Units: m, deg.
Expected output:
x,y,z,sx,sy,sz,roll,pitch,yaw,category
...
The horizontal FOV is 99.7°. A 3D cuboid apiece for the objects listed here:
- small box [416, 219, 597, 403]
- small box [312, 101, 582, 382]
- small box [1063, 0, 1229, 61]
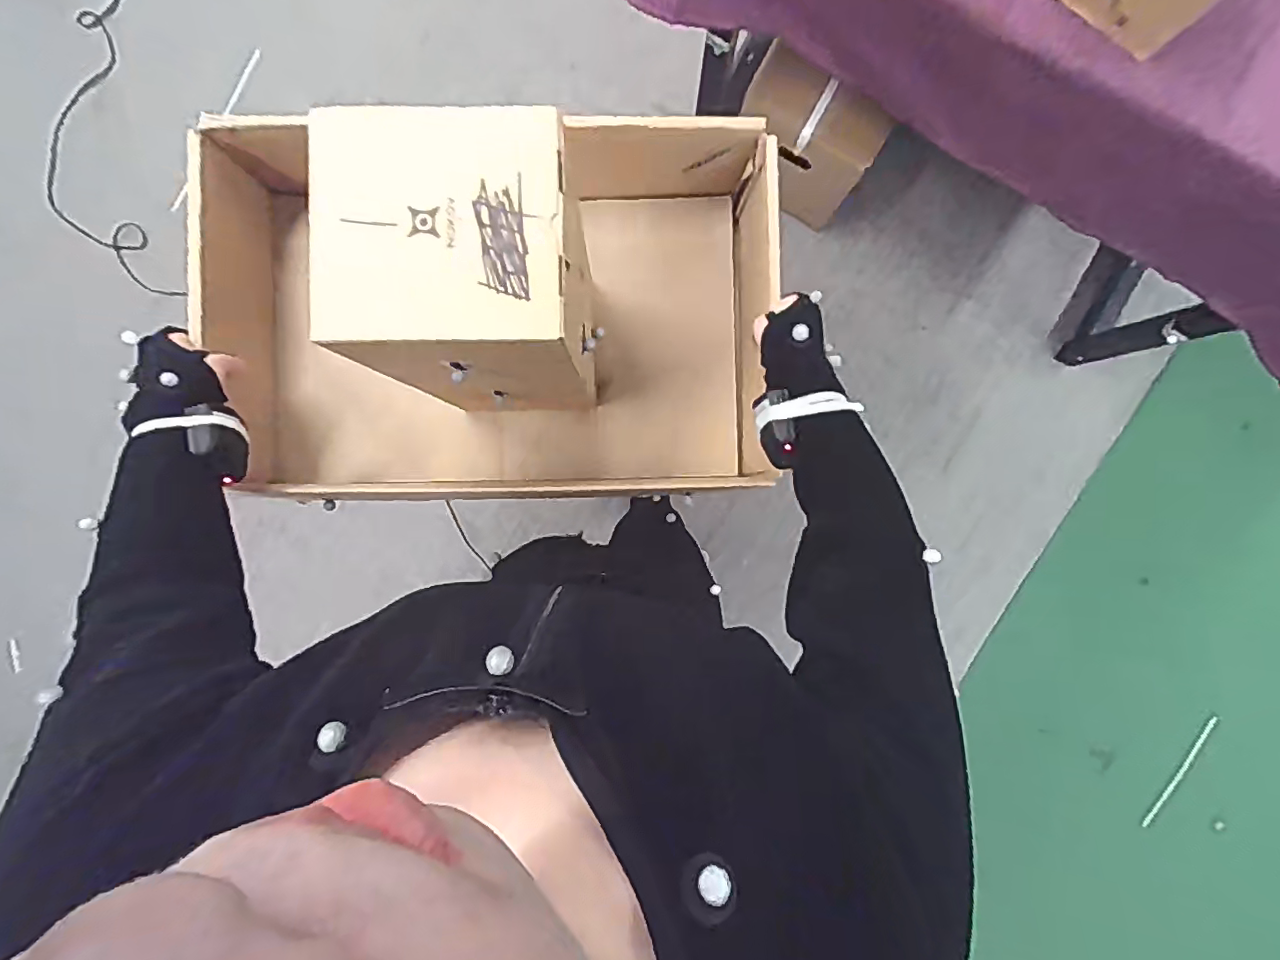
x,y,z,sx,sy,sz,roll,pitch,yaw,category
-0.144,-0.181,0.621,0.179,0.176,0.168,-2,90,-1,small box
-0.142,-0.180,0.456,0.179,0.176,0.168,-1,89,0,small box
0.668,-0.672,0.645,0.168,0.176,0.179,37,93,-1,small box
